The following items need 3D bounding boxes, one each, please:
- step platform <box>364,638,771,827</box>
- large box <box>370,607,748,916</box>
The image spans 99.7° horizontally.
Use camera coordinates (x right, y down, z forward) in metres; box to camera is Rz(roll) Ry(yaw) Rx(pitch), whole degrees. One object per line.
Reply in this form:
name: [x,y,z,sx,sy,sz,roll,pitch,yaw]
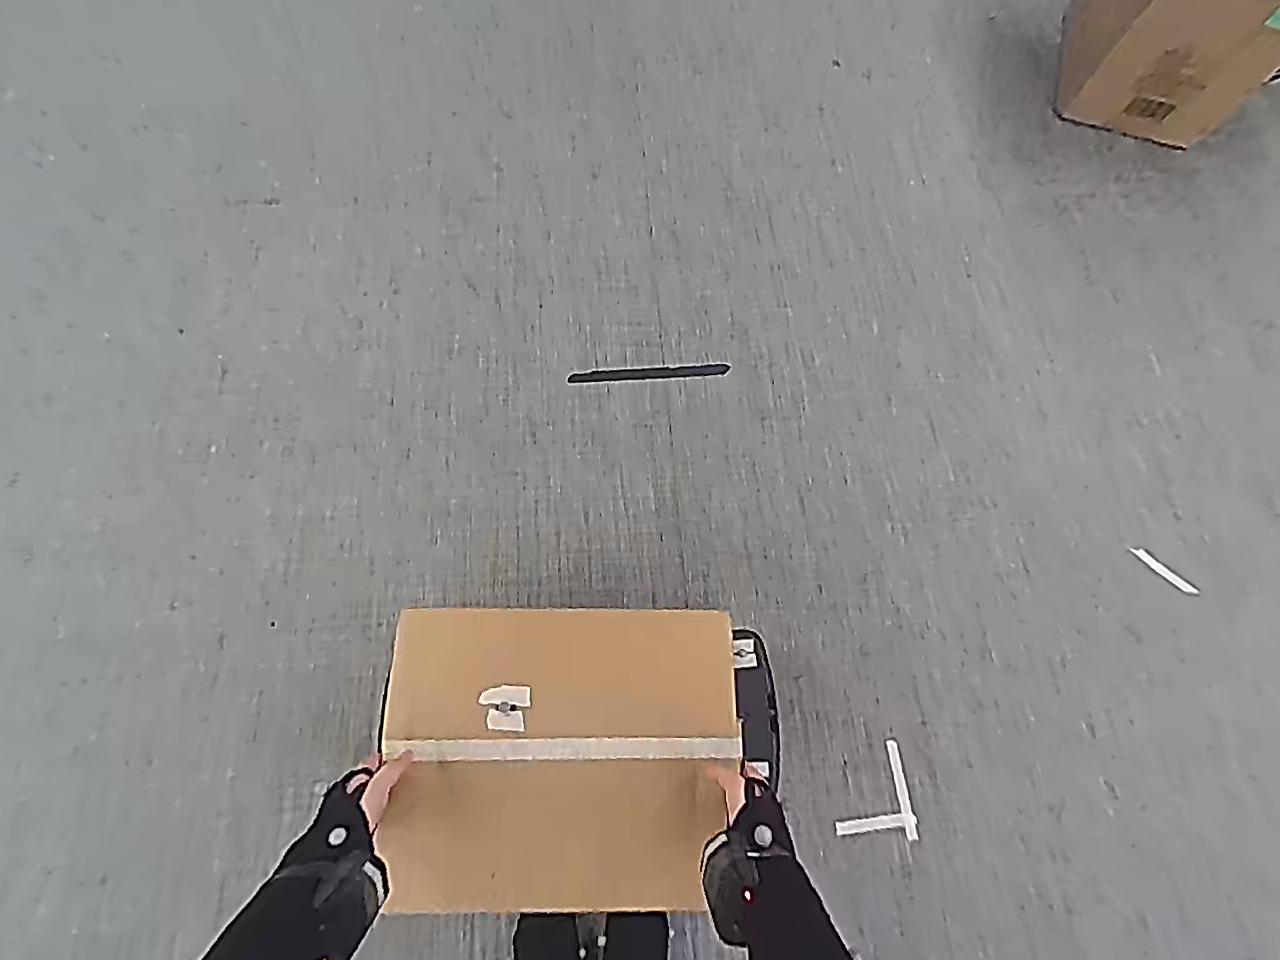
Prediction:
step platform: [-0.115,0.435,0.973,0.684,0.204,0.286,3,72,0]
large box: [-0.086,0.349,0.750,0.408,0.320,0.320,1,71,-1]
